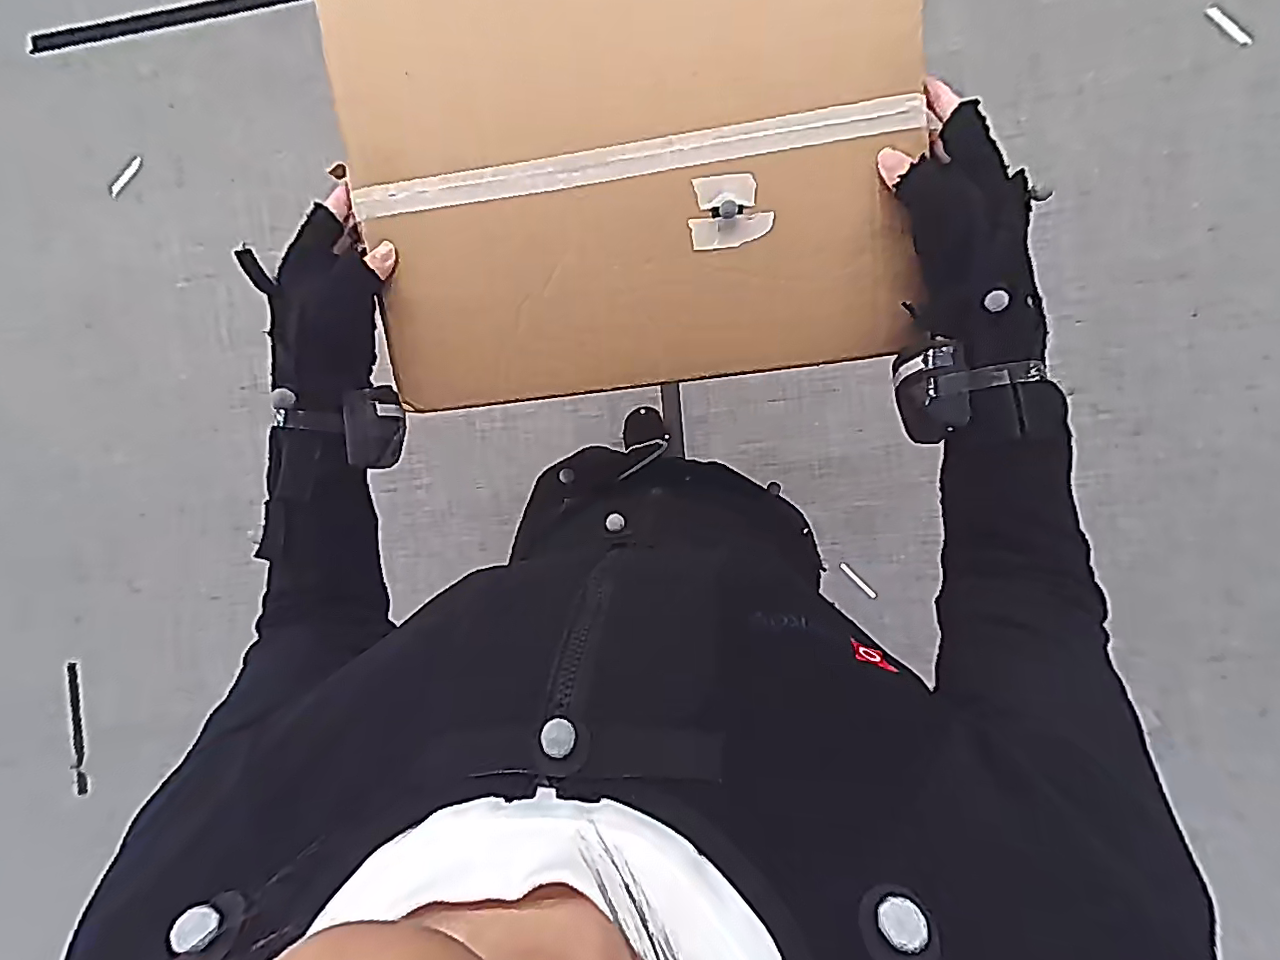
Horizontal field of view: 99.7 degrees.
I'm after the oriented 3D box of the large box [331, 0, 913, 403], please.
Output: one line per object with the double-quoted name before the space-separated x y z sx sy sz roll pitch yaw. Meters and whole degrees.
"large box" -0.001 -0.265 0.543 0.408 0.320 0.320 -6 102 5
